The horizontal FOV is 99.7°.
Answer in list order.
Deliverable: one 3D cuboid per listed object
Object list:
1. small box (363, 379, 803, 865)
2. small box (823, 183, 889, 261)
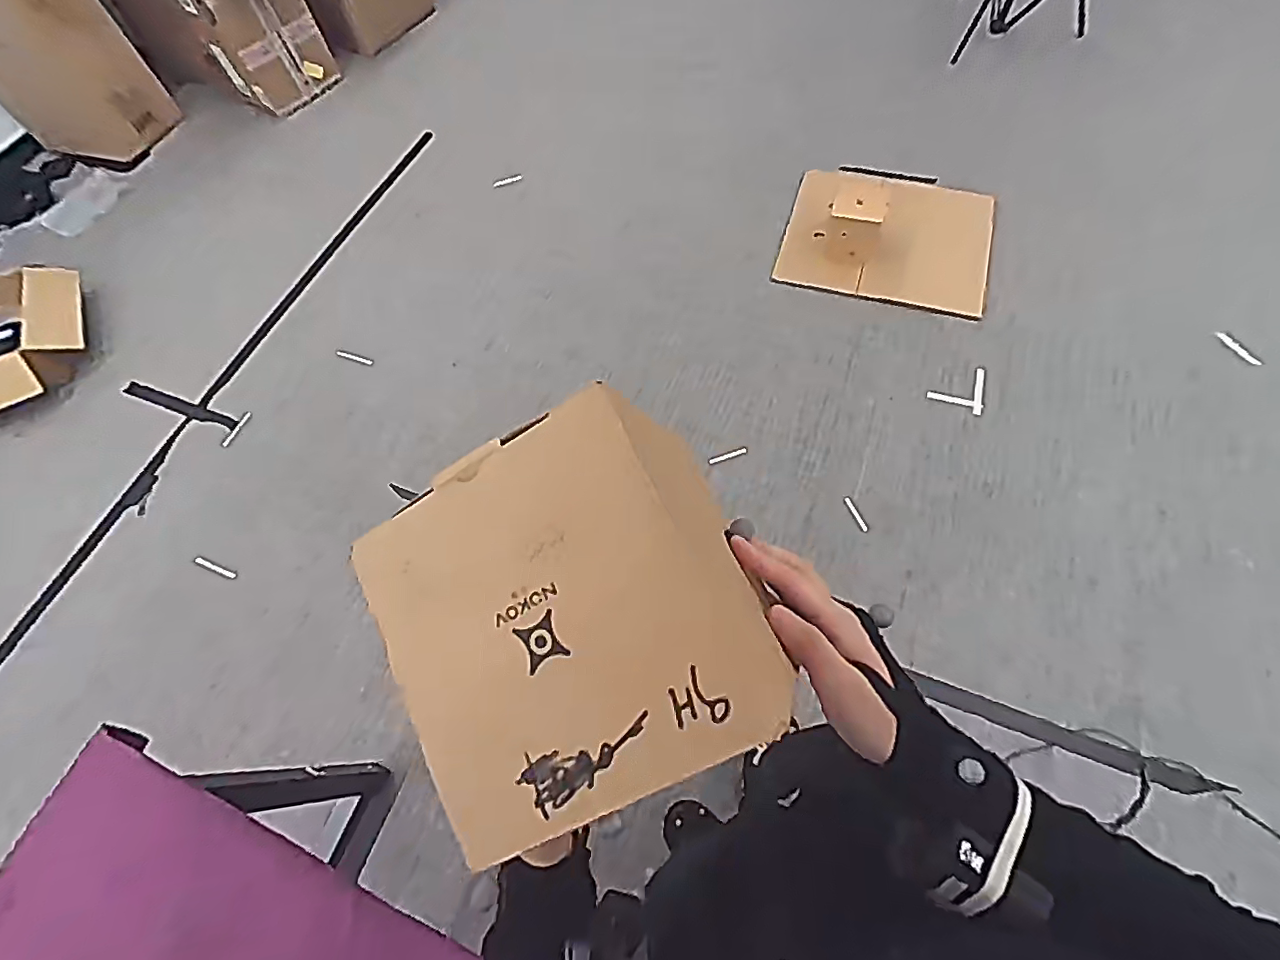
[{"bbox_3d":[-0.019,0.074,0.326,0.168,0.176,0.179,-31,74,14],"label":"small box"},{"bbox_3d":[0.743,-0.892,1.876,0.168,0.176,0.179,14,66,11],"label":"small box"}]
